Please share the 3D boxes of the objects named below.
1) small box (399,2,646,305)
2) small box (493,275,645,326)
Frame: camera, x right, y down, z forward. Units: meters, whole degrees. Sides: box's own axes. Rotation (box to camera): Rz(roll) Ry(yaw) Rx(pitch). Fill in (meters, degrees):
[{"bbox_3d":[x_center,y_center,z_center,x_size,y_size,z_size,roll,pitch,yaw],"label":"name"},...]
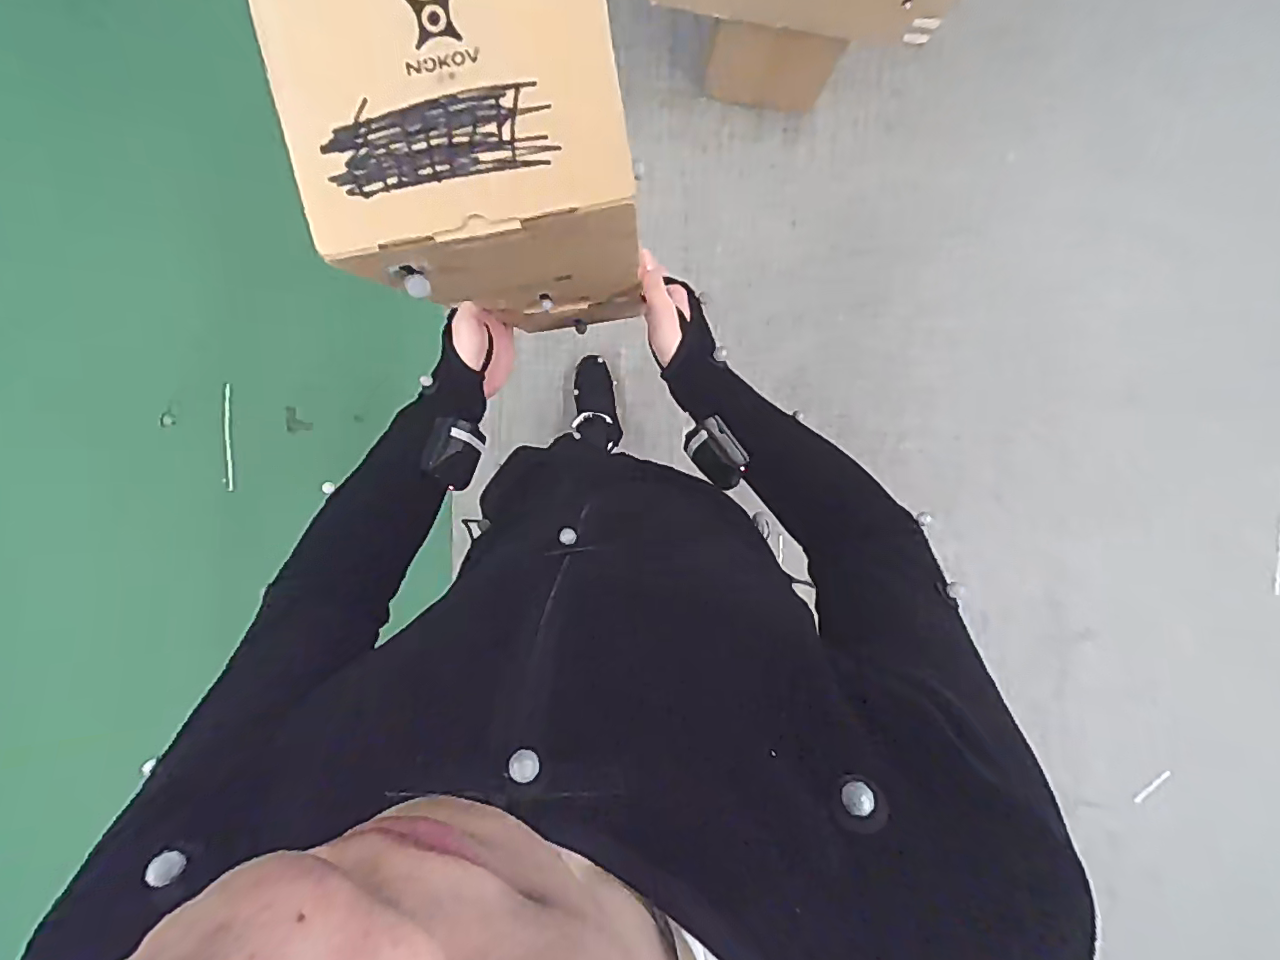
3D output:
[{"bbox_3d":[-0.087,-0.267,0.486,0.168,0.176,0.179,-7,101,1],"label":"small box"},{"bbox_3d":[-0.086,-0.290,0.646,0.168,0.176,0.179,-7,101,2],"label":"small box"}]
